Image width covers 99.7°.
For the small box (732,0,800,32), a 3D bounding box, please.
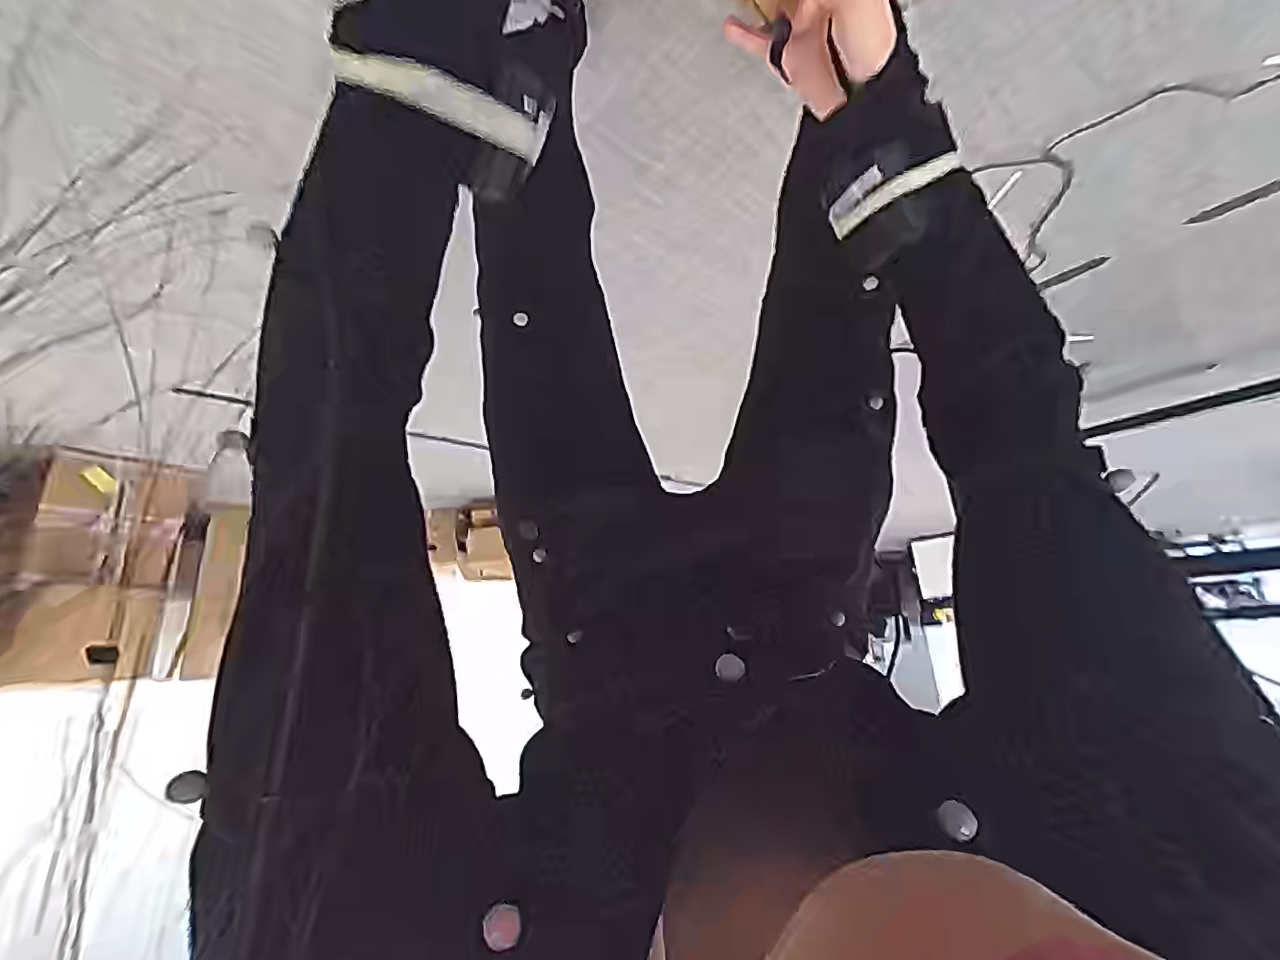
[{"bbox_3d":[0.043,-0.399,0.273,0.168,0.176,0.179,-16,153,-52],"label":"small box"}]
